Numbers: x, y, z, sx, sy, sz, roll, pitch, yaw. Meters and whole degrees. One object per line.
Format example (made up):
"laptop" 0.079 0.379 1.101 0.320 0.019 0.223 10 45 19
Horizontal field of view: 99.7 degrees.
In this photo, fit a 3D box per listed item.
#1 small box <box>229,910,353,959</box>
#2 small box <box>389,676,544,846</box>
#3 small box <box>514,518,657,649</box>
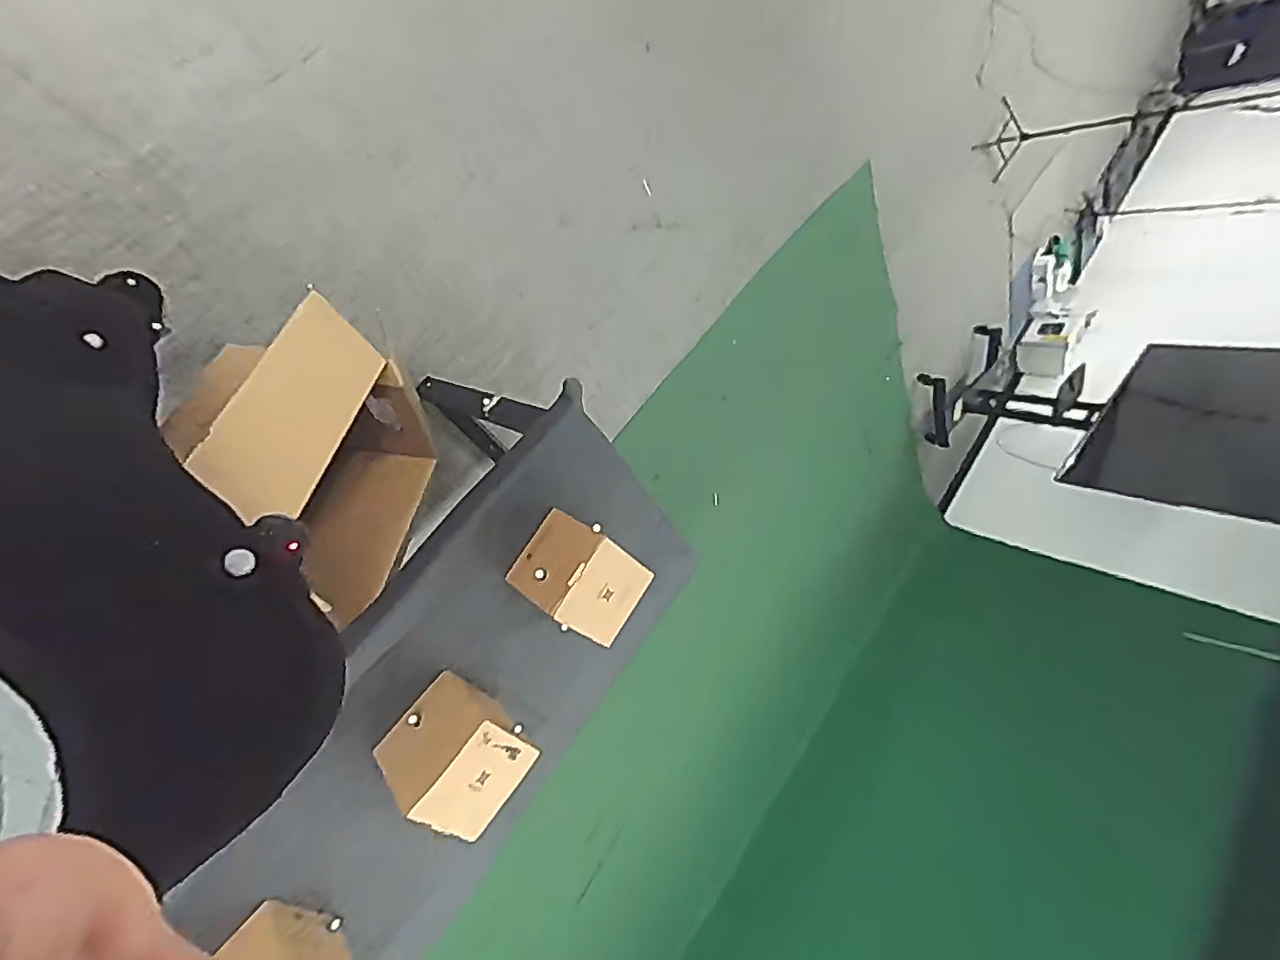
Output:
"small box" -0.559 0.819 0.831 0.179 0.176 0.168 -46 129 -21
"small box" -0.311 0.486 0.950 0.179 0.176 0.168 -49 131 -18
"small box" -0.107 0.191 1.037 0.168 0.176 0.179 -56 135 -10
